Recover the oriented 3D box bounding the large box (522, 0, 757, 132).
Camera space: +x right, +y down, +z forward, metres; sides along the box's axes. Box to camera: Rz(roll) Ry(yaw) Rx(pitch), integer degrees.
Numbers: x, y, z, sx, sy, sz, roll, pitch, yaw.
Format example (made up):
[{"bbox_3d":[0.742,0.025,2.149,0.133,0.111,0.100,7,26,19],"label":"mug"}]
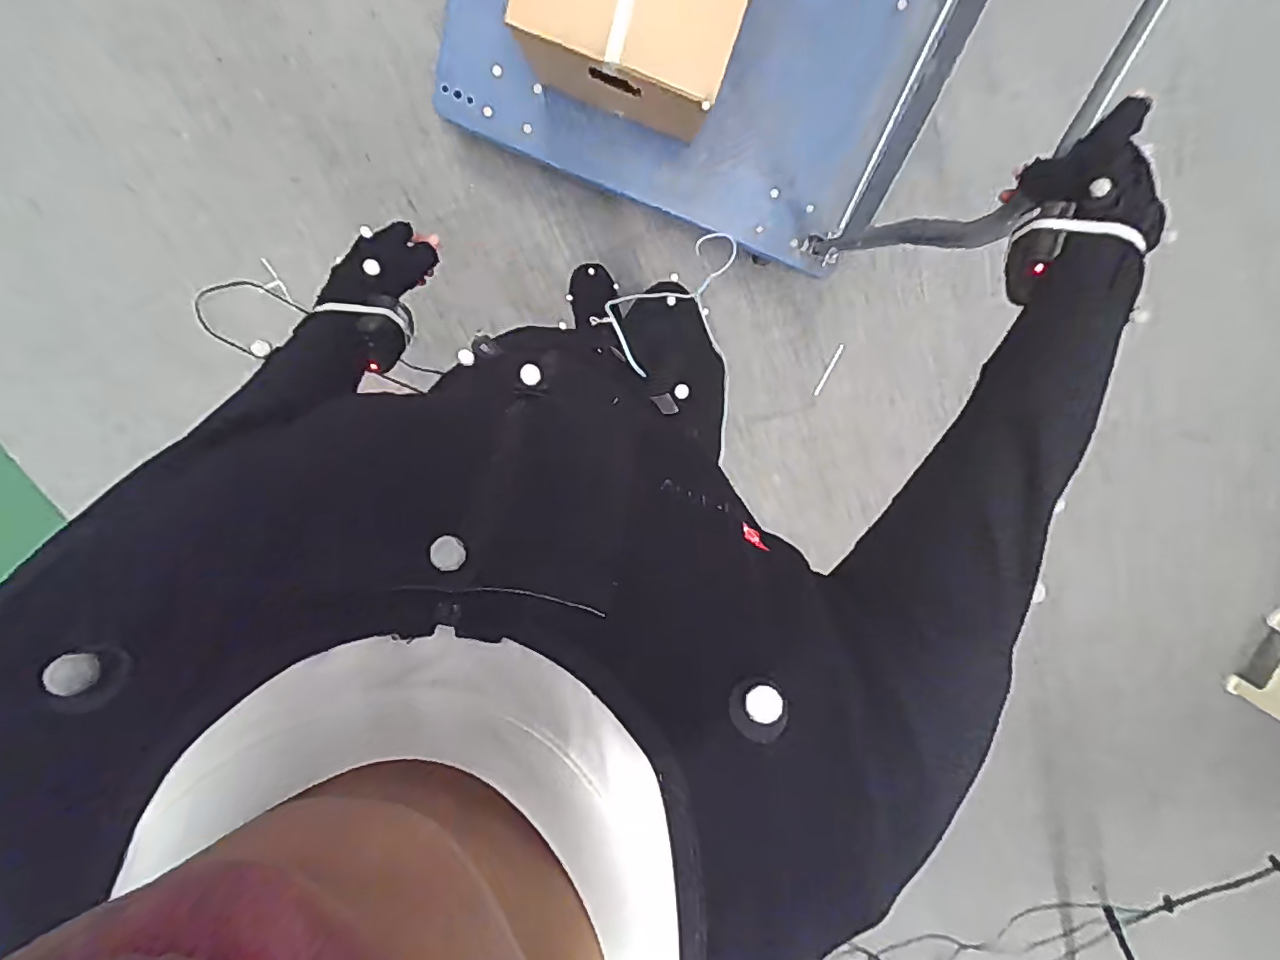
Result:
[{"bbox_3d":[0.035,-0.829,0.828,0.320,0.320,0.408,16,114,-6],"label":"large box"}]
